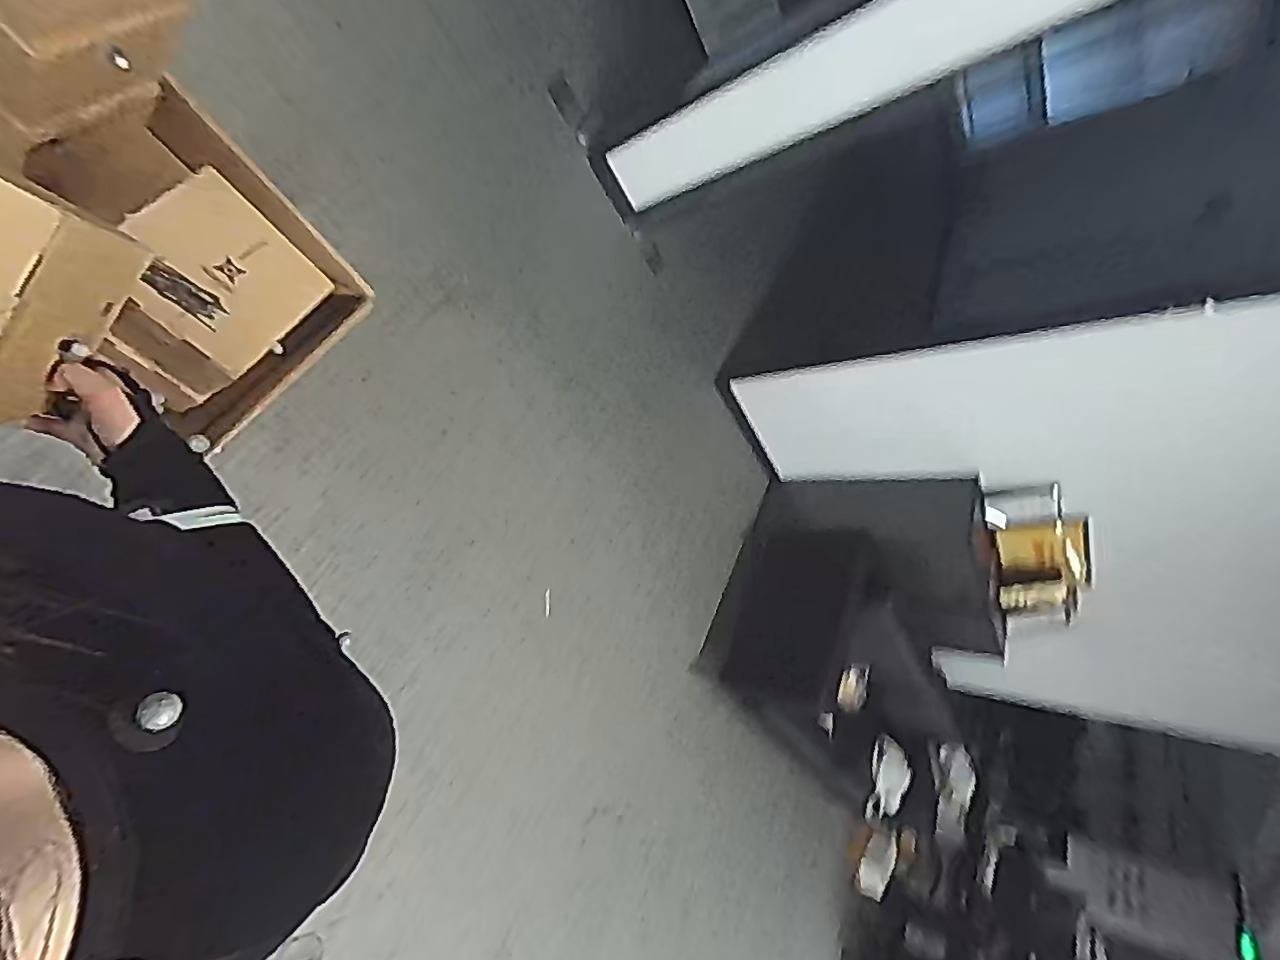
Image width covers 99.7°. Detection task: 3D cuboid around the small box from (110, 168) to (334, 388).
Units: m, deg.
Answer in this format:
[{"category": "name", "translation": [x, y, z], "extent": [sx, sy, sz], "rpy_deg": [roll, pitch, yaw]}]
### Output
[{"category": "small box", "translation": [-0.529, -0.232, 0.664], "extent": [0.168, 0.176, 0.179], "rpy_deg": [50, 54, -37]}]

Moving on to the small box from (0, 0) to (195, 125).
[{"category": "small box", "translation": [-0.625, -0.510, 0.559], "extent": [0.168, 0.176, 0.179], "rpy_deg": [56, 50, -35]}]

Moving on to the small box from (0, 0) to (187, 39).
[{"category": "small box", "translation": [-0.500, -0.518, 0.453], "extent": [0.179, 0.176, 0.168], "rpy_deg": [-58, 132, -33]}]

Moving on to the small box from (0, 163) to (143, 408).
[{"category": "small box", "translation": [-0.498, -0.153, 0.363], "extent": [0.179, 0.176, 0.168], "rpy_deg": [30, 89, -33]}]
